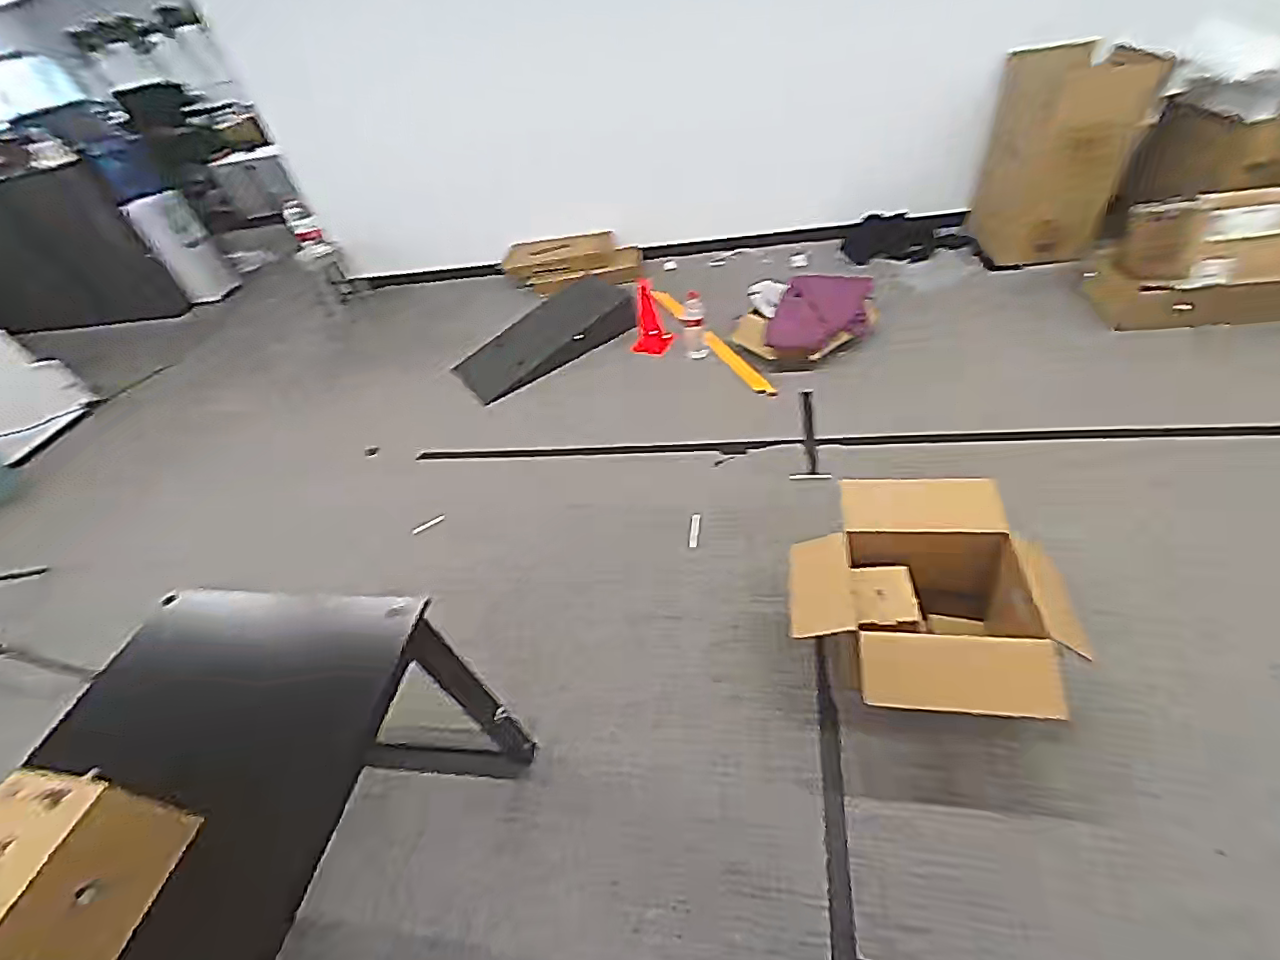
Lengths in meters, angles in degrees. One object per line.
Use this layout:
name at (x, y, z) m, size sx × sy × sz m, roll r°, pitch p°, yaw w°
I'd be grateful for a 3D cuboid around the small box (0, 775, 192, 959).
small box at (-0.742, 0.504, 0.688) m, size 0.168 × 0.176 × 0.179 m, roll 0°, pitch 46°, yaw 14°
